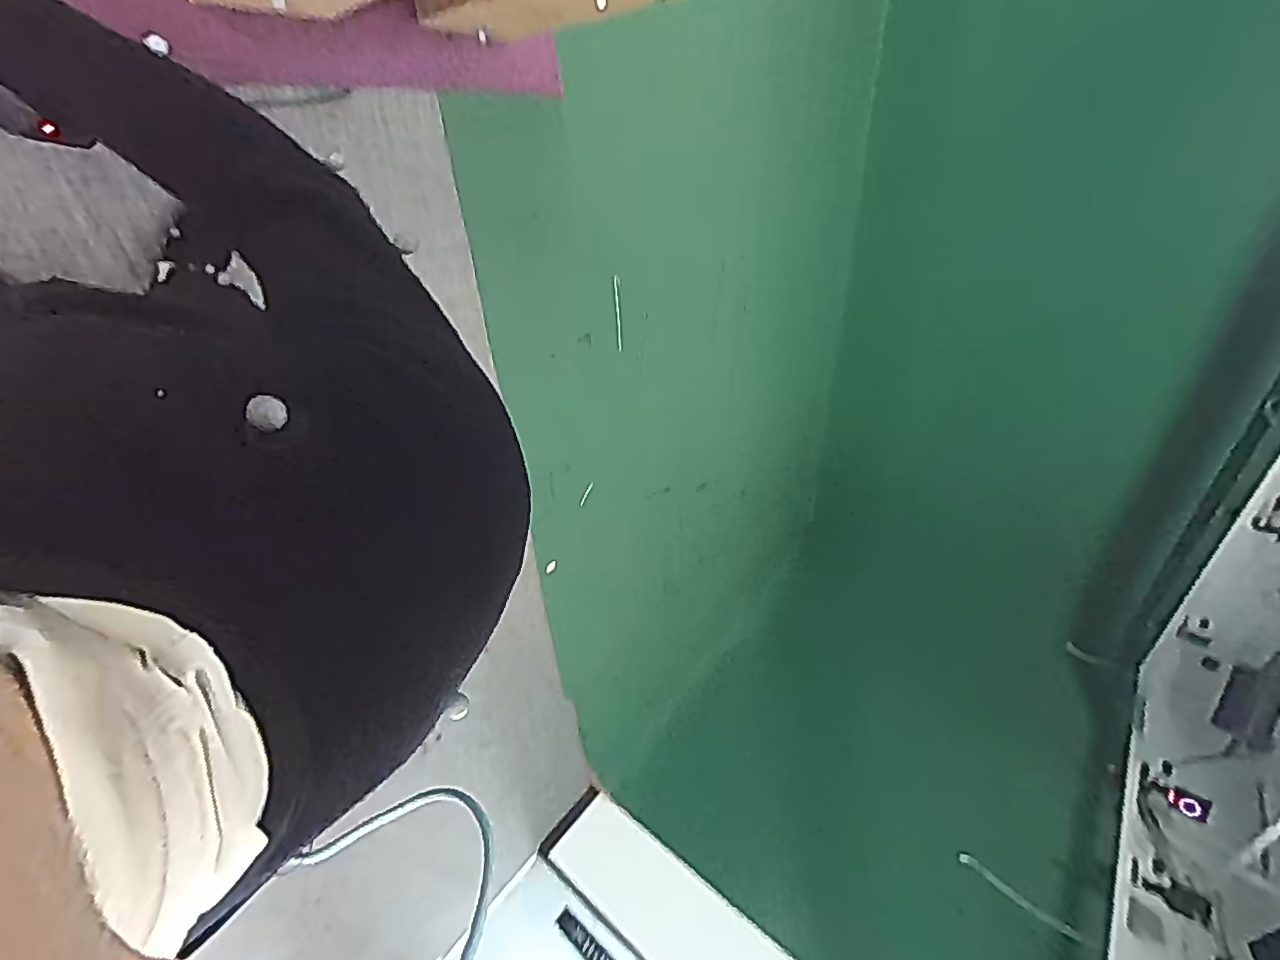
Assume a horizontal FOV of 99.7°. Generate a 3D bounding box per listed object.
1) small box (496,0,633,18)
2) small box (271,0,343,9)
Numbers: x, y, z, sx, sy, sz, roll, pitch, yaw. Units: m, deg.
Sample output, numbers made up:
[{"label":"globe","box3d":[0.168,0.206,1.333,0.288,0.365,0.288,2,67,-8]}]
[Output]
[{"label":"small box","box3d":[-0.087,-0.689,0.641,0.168,0.176,0.179,-30,129,-39]},{"label":"small box","box3d":[-0.398,-0.620,0.558,0.168,0.176,0.179,-33,131,-39]}]
